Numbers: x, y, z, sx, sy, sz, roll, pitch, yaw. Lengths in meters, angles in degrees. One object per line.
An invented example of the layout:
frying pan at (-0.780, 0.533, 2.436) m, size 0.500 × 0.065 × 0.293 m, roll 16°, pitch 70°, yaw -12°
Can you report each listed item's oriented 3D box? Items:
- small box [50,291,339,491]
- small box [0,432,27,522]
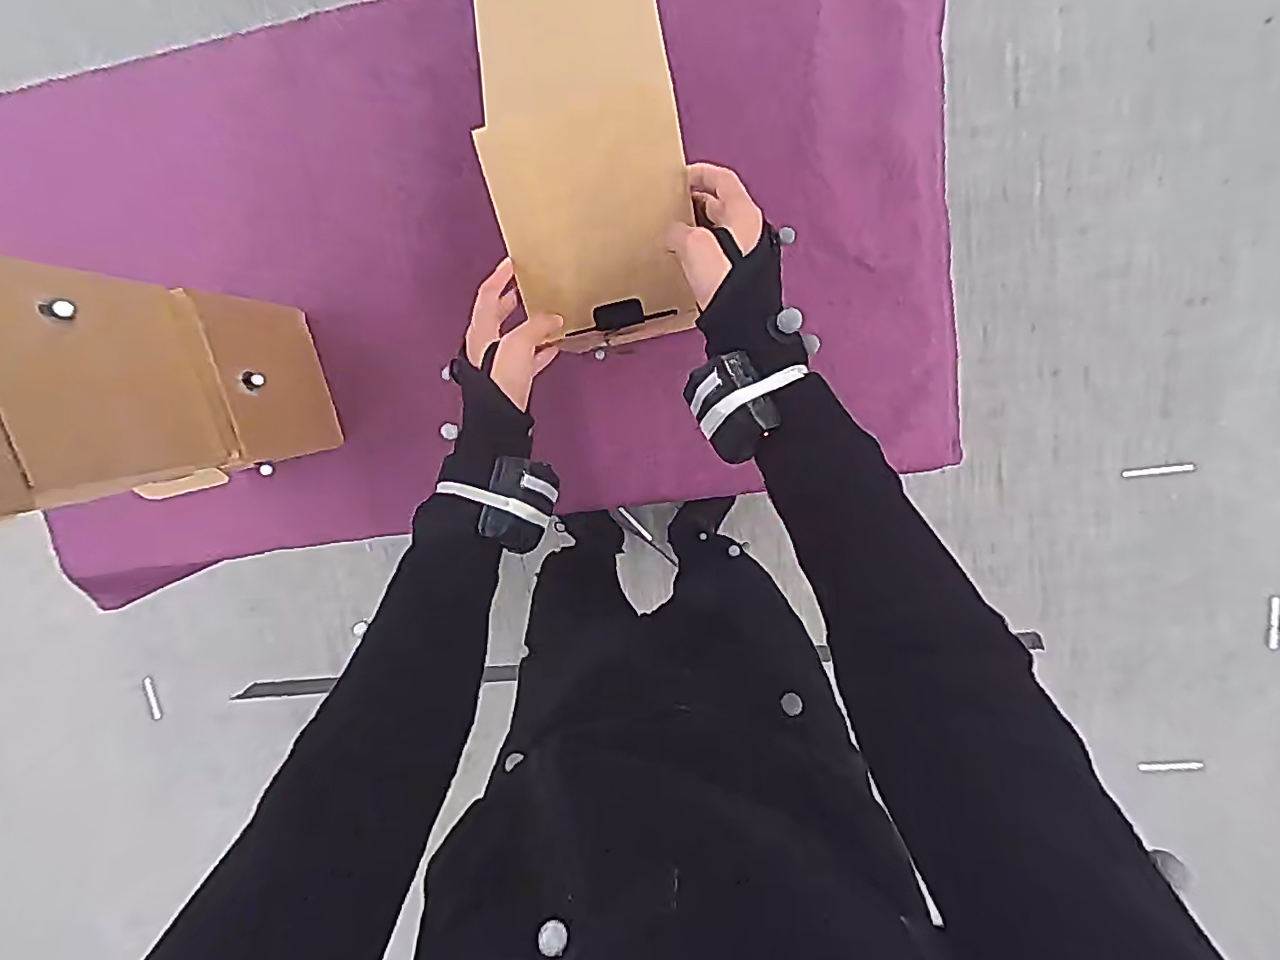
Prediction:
small box at (-0.484, -0.100, 0.620) m, size 0.168 × 0.176 × 0.179 m, roll -11°, pitch 99°, yaw 7°
small box at (-0.528, -0.032, 0.299) m, size 0.168 × 0.176 × 0.179 m, roll -14°, pitch 98°, yaw 8°
